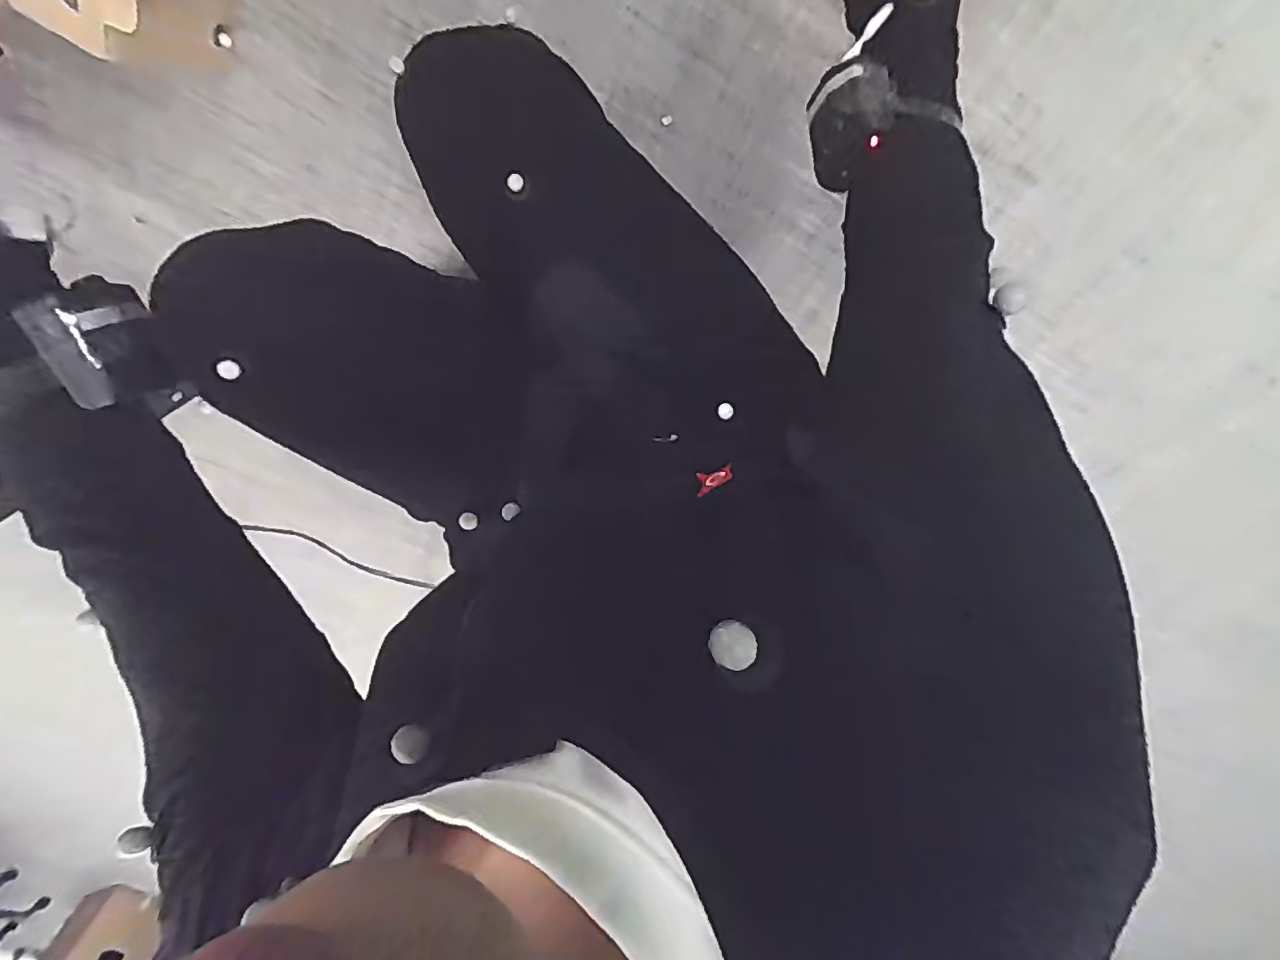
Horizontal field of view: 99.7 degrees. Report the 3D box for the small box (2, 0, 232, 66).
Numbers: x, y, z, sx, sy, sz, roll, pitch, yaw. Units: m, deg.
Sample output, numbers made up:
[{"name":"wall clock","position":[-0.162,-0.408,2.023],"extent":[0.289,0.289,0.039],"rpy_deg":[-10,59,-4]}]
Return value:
[{"name":"small box","position":[-0.514,-0.527,0.503],"extent":[0.179,0.176,0.168],"rpy_deg":[28,124,-12]}]
